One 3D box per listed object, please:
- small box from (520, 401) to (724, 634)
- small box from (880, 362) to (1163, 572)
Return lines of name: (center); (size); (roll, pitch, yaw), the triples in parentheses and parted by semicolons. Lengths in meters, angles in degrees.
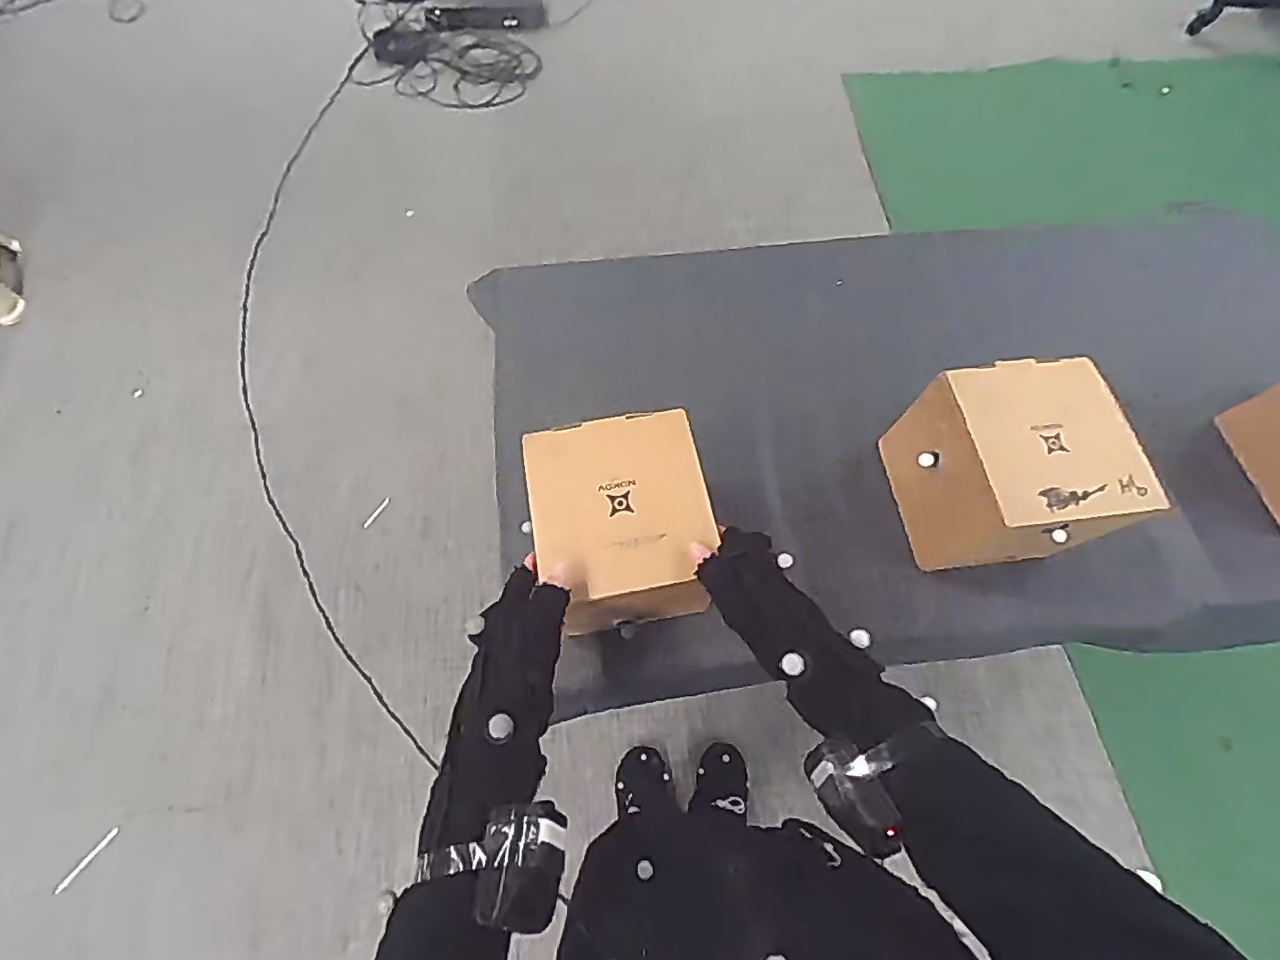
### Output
small box: (-0.022, 0.045, 0.553); (0.168, 0.176, 0.179); (-9, 65, -3)
small box: (0.401, -0.009, 0.610); (0.168, 0.176, 0.179); (-6, 66, -4)
